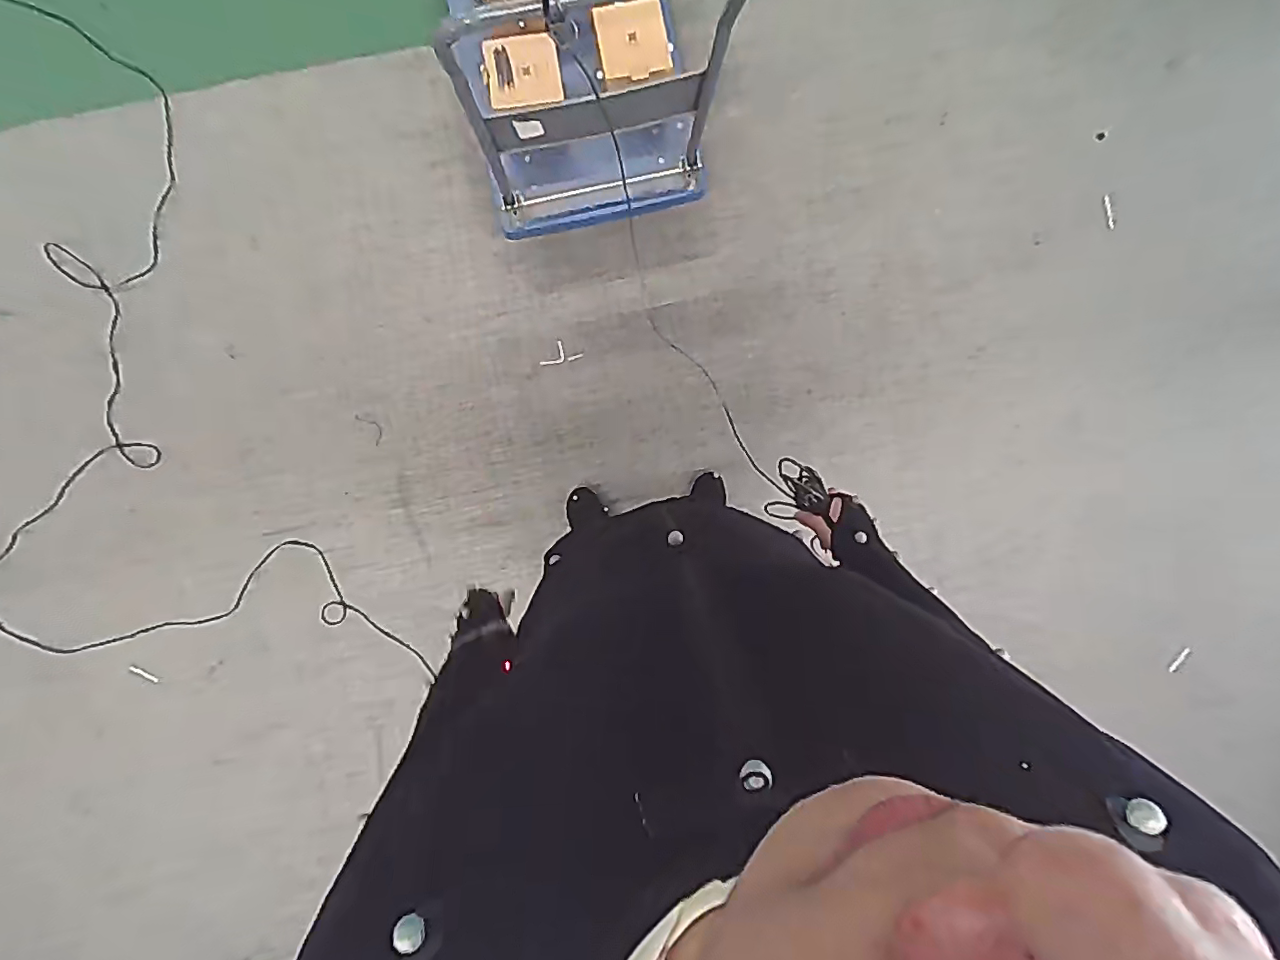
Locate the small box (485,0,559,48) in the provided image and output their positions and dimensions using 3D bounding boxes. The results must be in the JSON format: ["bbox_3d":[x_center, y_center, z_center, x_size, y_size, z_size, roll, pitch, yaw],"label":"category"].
[{"bbox_3d":[-0.309,-1.230,1.350,0.168,0.176,0.179,-16,91,-1],"label":"small box"}]

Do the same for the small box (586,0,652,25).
[{"bbox_3d":[-0.068,-1.302,1.353,0.168,0.176,0.179,-16,92,0],"label":"small box"}]

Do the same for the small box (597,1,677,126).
[{"bbox_3d":[-0.010,-1.038,1.359,0.168,0.176,0.179,-11,92,-1],"label":"small box"}]
